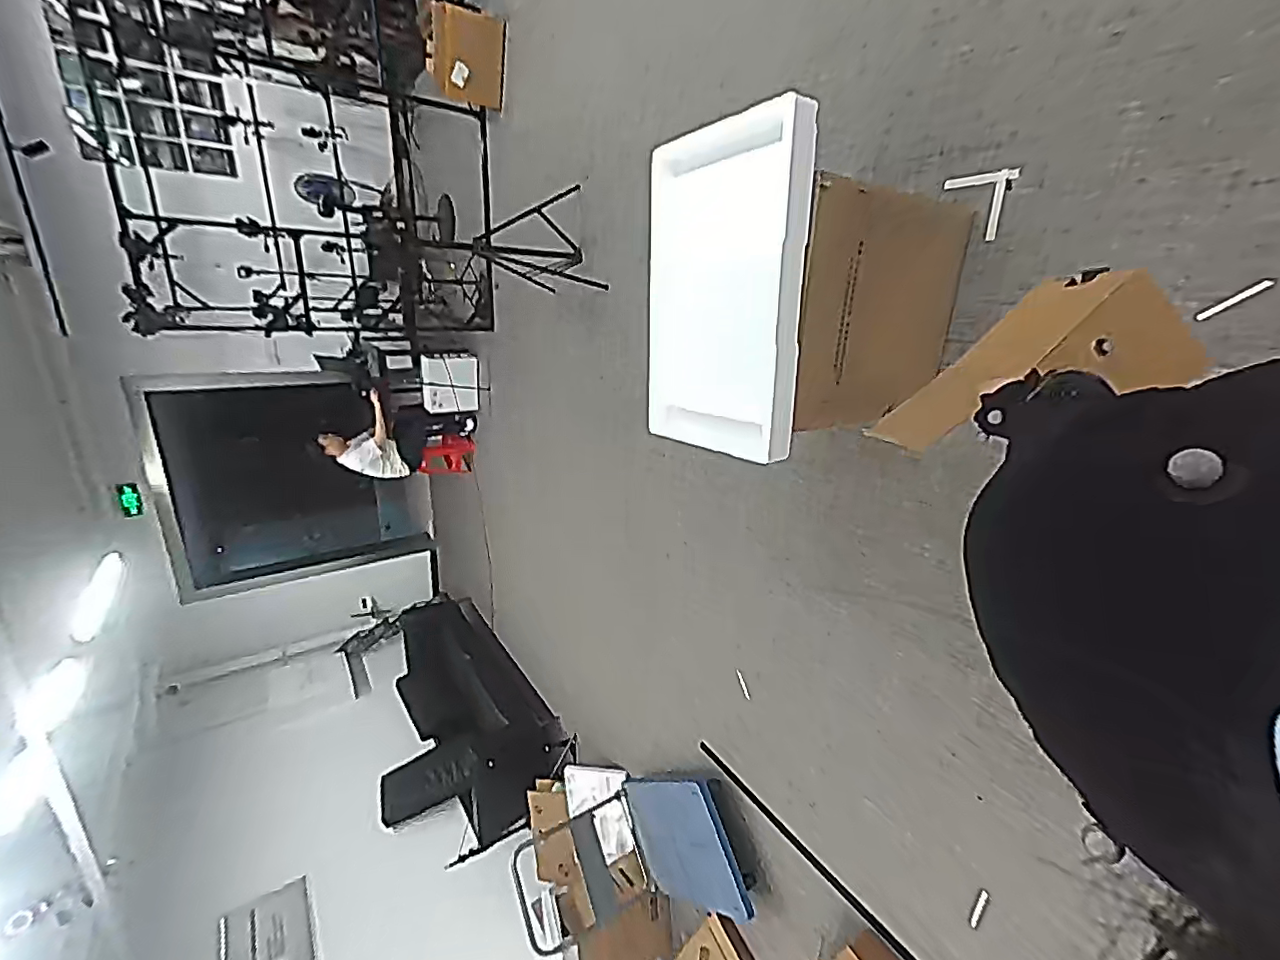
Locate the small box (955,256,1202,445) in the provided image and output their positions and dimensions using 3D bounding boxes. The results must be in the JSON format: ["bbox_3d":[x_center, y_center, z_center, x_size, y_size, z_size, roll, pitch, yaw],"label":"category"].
[{"bbox_3d":[0.598,-0.171,0.748,0.176,0.179,0.168,42,-173,-12],"label":"small box"}]
